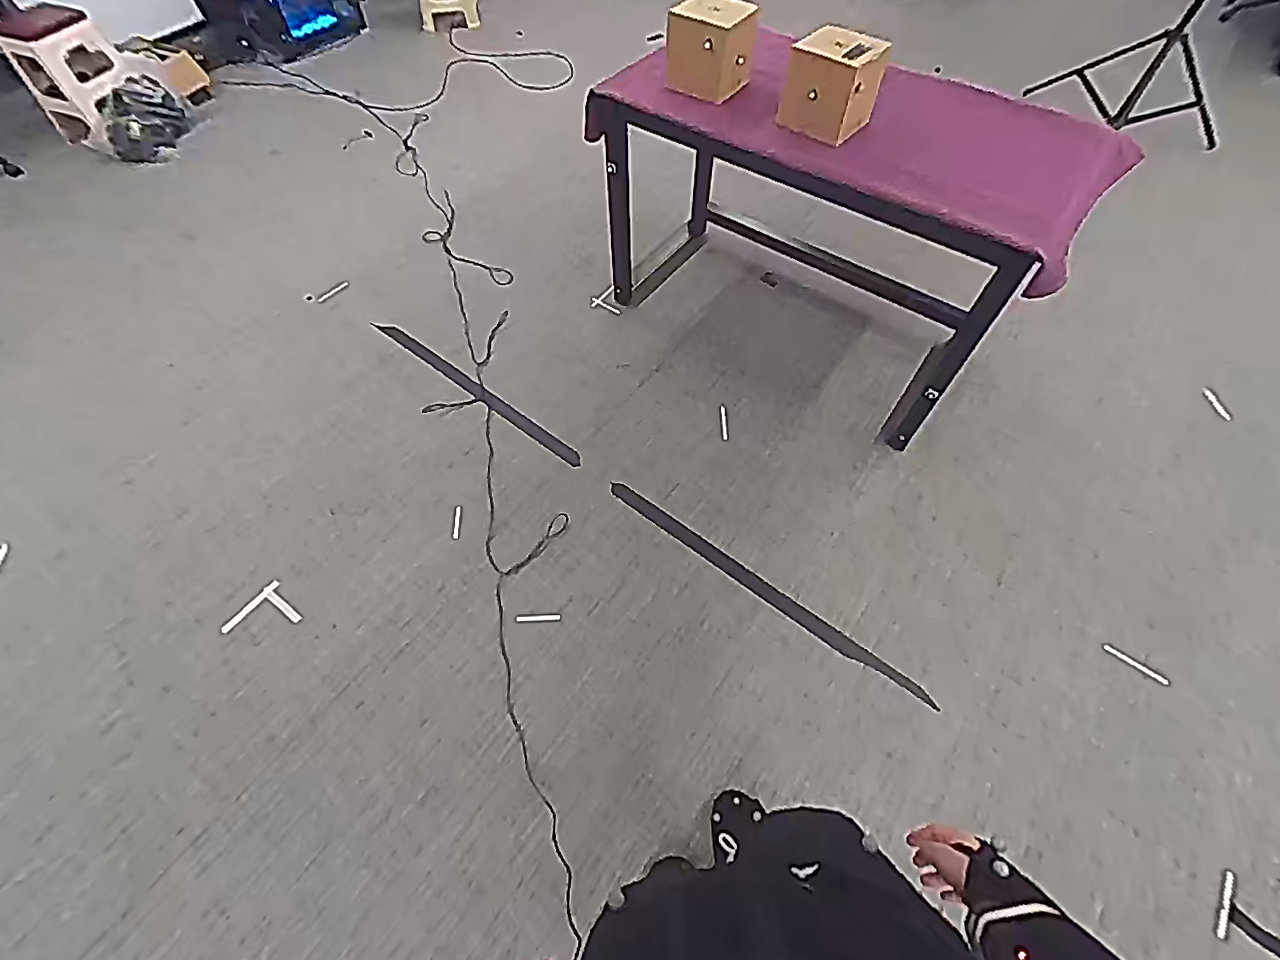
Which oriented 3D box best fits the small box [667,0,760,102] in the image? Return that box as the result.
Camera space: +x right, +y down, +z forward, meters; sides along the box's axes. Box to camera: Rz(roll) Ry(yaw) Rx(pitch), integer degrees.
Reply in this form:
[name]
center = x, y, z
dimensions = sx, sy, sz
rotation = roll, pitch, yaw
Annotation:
[small box]
center = 0.186, -1.122, 1.413
dimensions = 0.179, 0.176, 0.168
rotation = 31, 62, 18
